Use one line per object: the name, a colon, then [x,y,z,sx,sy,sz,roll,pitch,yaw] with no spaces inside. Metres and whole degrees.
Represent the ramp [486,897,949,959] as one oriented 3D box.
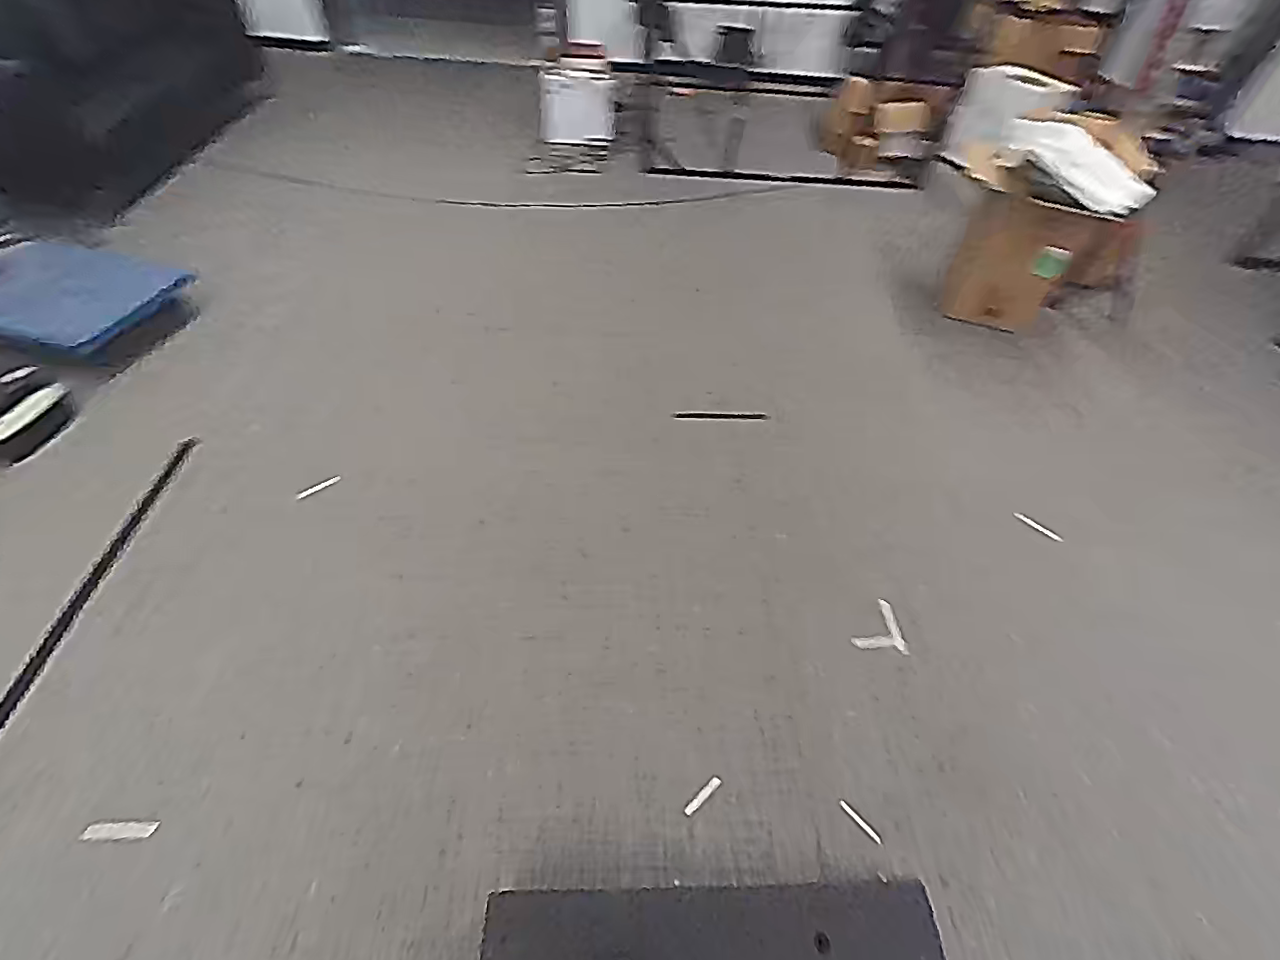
ramp: [0.204,1.090,0.994,0.991,0.206,0.509,-1,48,-6]
